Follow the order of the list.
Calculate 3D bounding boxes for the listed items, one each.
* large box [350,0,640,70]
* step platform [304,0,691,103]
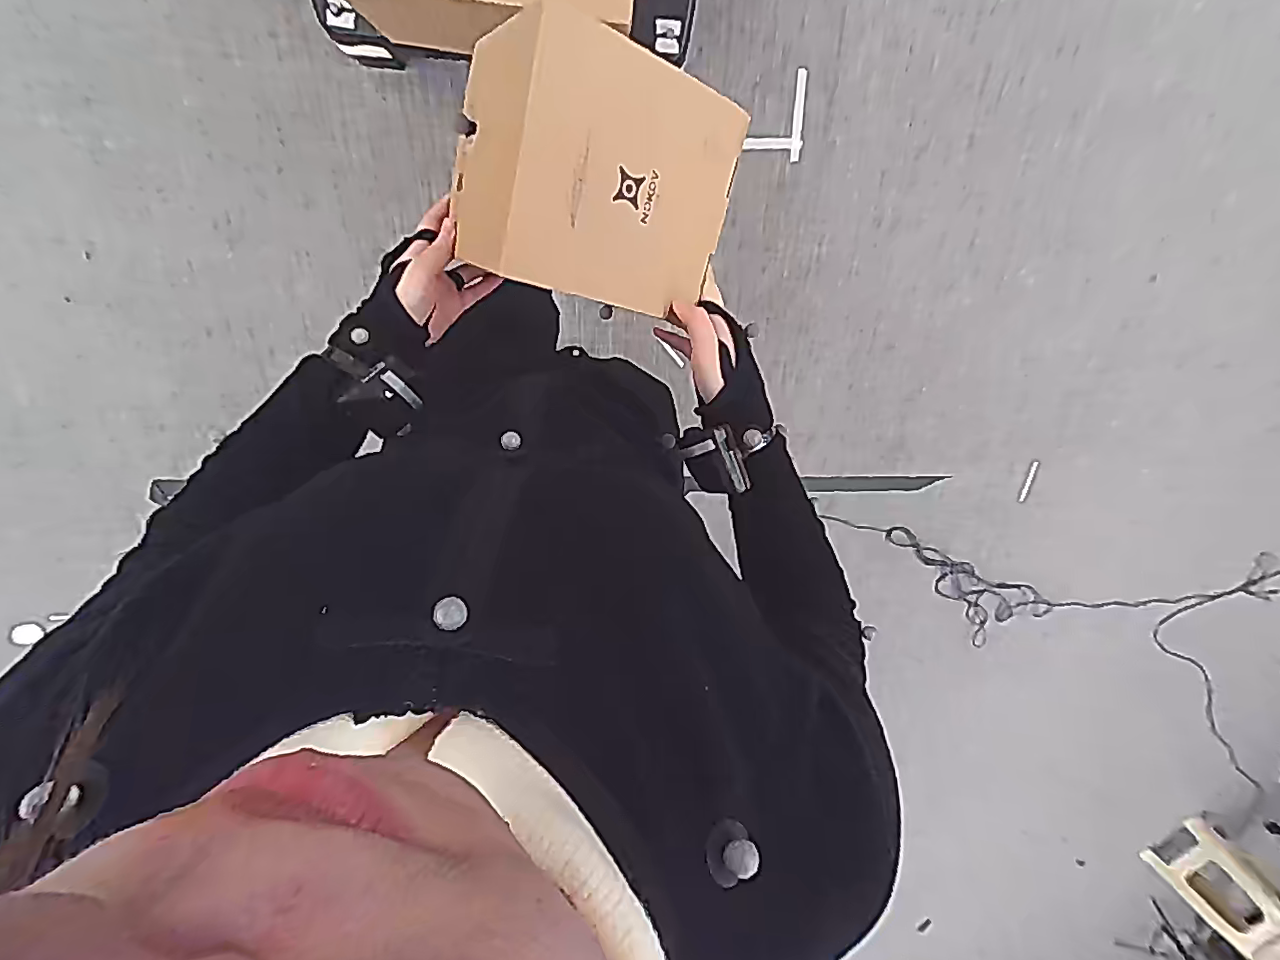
[{"bbox_3d":[-0.196,-0.817,0.761,0.408,0.320,0.320,3,115,-6],"label":"large box"},{"bbox_3d":[-0.244,-0.917,0.974,0.684,0.204,0.286,5,115,-7],"label":"step platform"}]
